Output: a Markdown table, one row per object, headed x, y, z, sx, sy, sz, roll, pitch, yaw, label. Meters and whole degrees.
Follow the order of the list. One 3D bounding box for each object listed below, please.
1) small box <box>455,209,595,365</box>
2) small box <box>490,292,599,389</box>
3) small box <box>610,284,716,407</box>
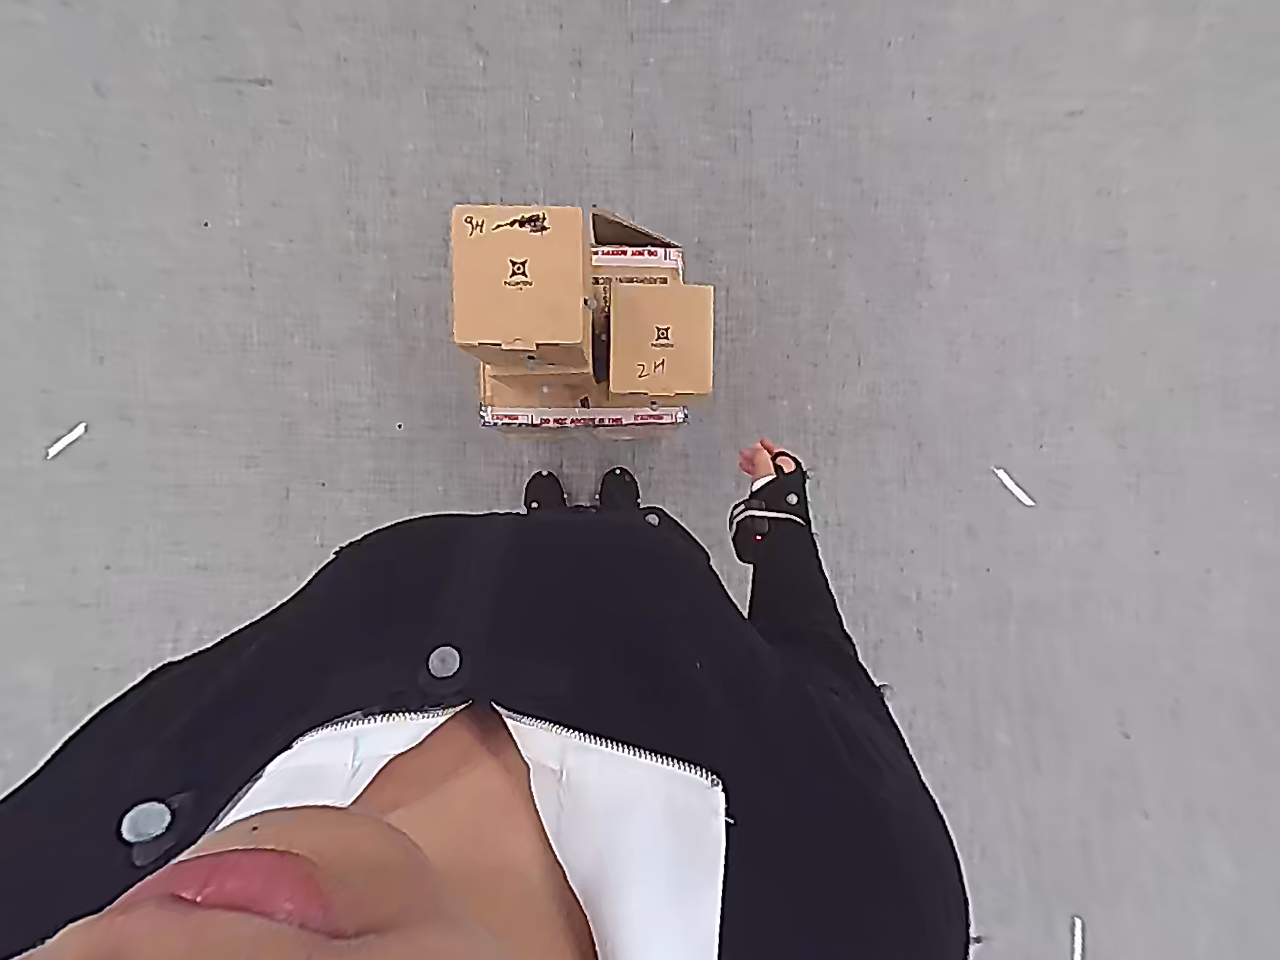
| x | y | z | sx | sy | sz | roll | pitch | yaw | label |
| --- | --- | --- | --- | --- | --- | --- | --- | --- | --- |
| -0.151 | -0.259 | 0.764 | 0.168 | 0.176 | 0.179 | 0 | 94 | -1 | small box |
| -0.159 | -0.254 | 0.928 | 0.168 | 0.176 | 0.179 | -2 | 94 | -1 | small box |
| 0.033 | -0.224 | 0.937 | 0.168 | 0.176 | 0.179 | 0 | 92 | -3 | small box |
